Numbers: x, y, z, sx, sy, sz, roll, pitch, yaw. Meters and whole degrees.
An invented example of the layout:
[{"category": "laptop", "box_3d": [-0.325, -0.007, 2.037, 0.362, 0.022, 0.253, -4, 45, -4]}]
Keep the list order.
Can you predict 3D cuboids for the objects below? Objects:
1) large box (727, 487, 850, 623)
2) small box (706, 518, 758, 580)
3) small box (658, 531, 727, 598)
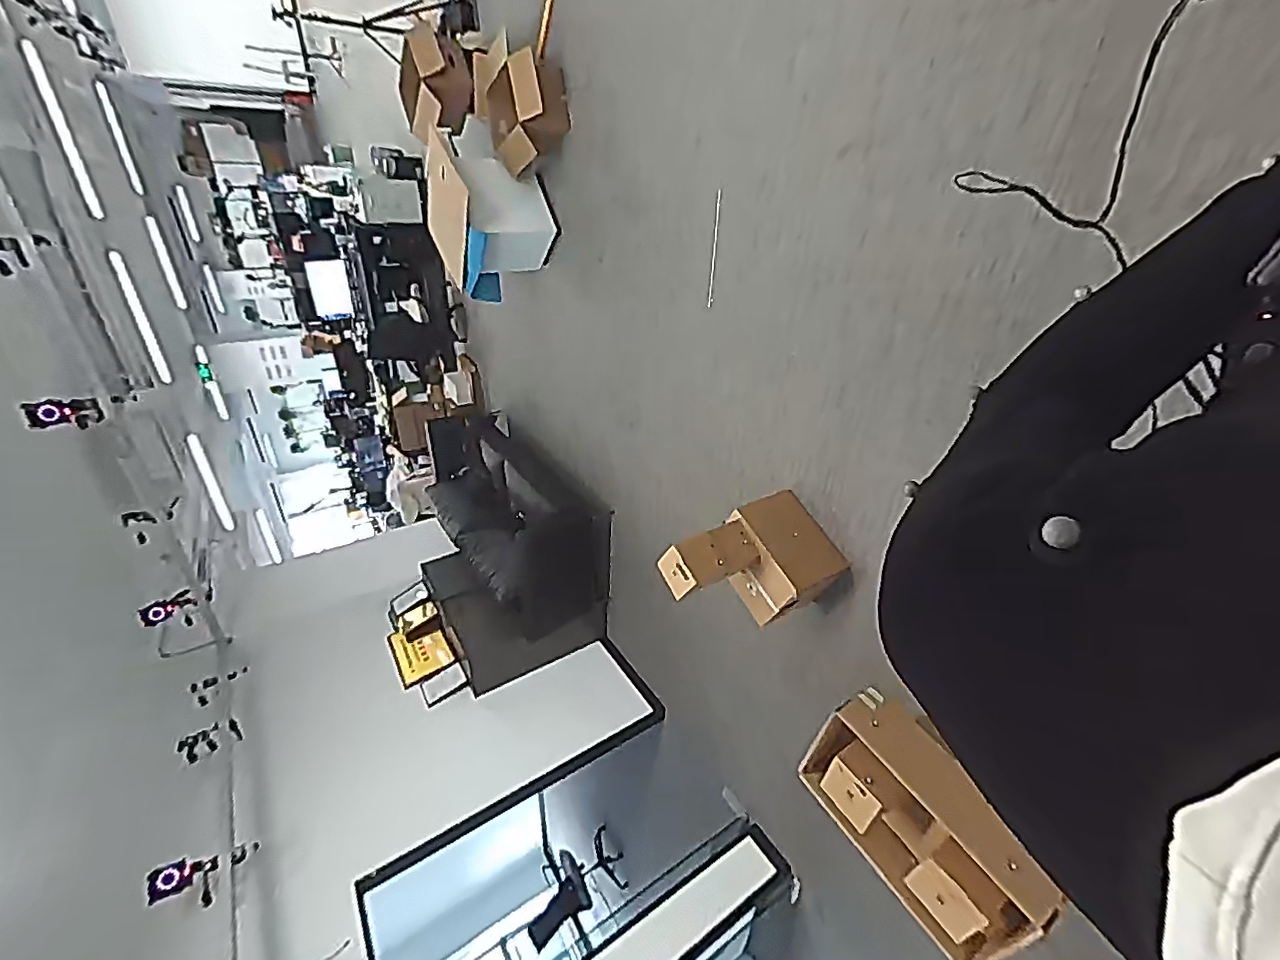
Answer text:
[{"category": "large box", "box_3d": [0.565, 0.300, 2.233, 0.408, 0.320, 0.320, 55, 146, 26]}, {"category": "small box", "box_3d": [0.330, 0.273, 2.119, 0.168, 0.176, 0.179, 59, 146, 20]}, {"category": "small box", "box_3d": [0.200, 0.314, 2.028, 0.168, 0.176, 0.179, 59, 147, 20]}]
